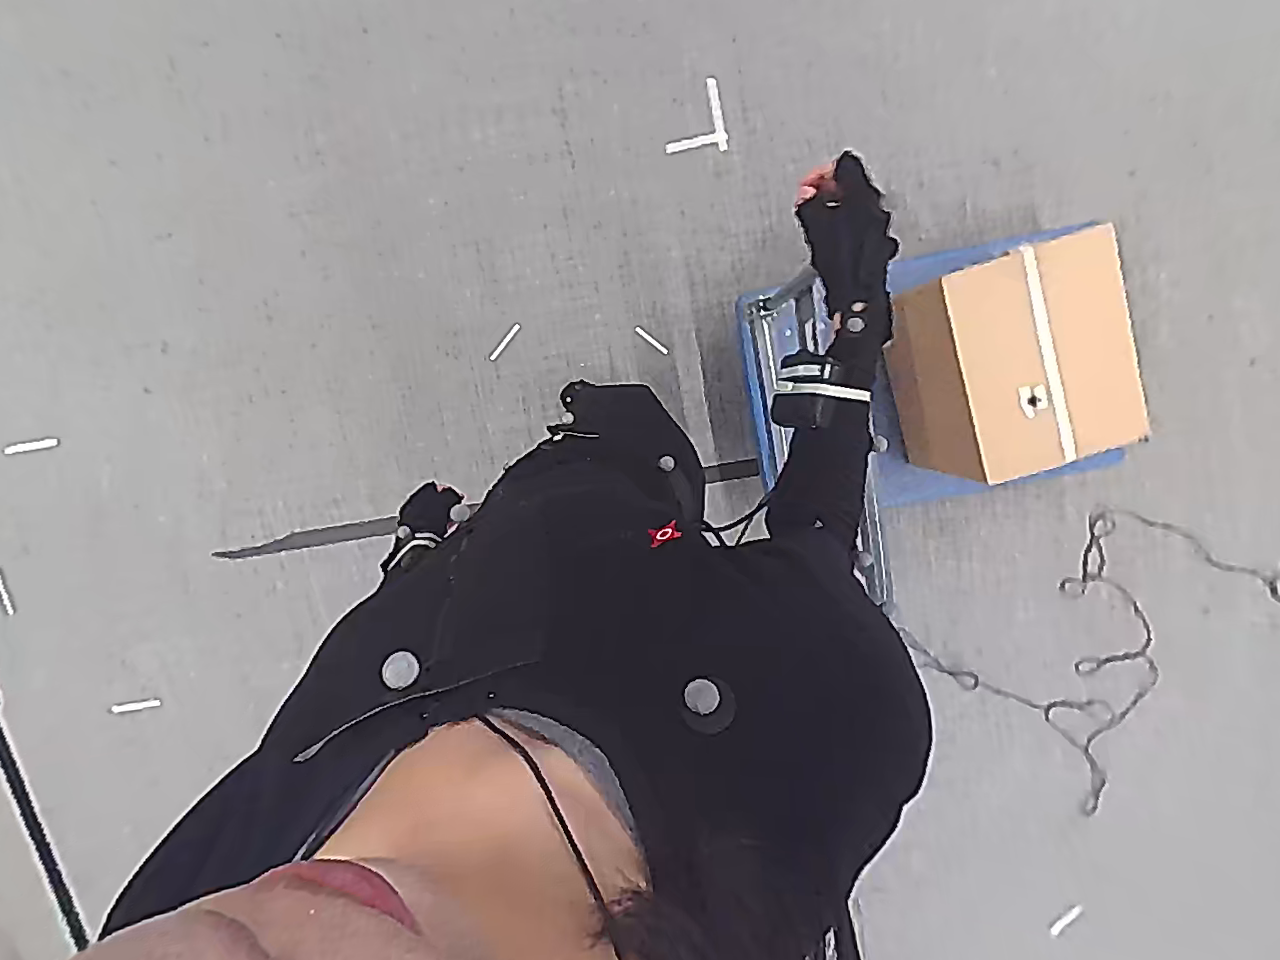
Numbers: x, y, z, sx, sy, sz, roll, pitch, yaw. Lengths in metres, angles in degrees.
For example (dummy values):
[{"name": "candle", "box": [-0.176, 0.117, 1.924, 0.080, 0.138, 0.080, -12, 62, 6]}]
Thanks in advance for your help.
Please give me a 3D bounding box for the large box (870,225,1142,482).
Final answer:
[{"name": "large box", "box": [0.744, -0.250, 1.147, 0.320, 0.320, 0.408, -18, 99, 4]}]
